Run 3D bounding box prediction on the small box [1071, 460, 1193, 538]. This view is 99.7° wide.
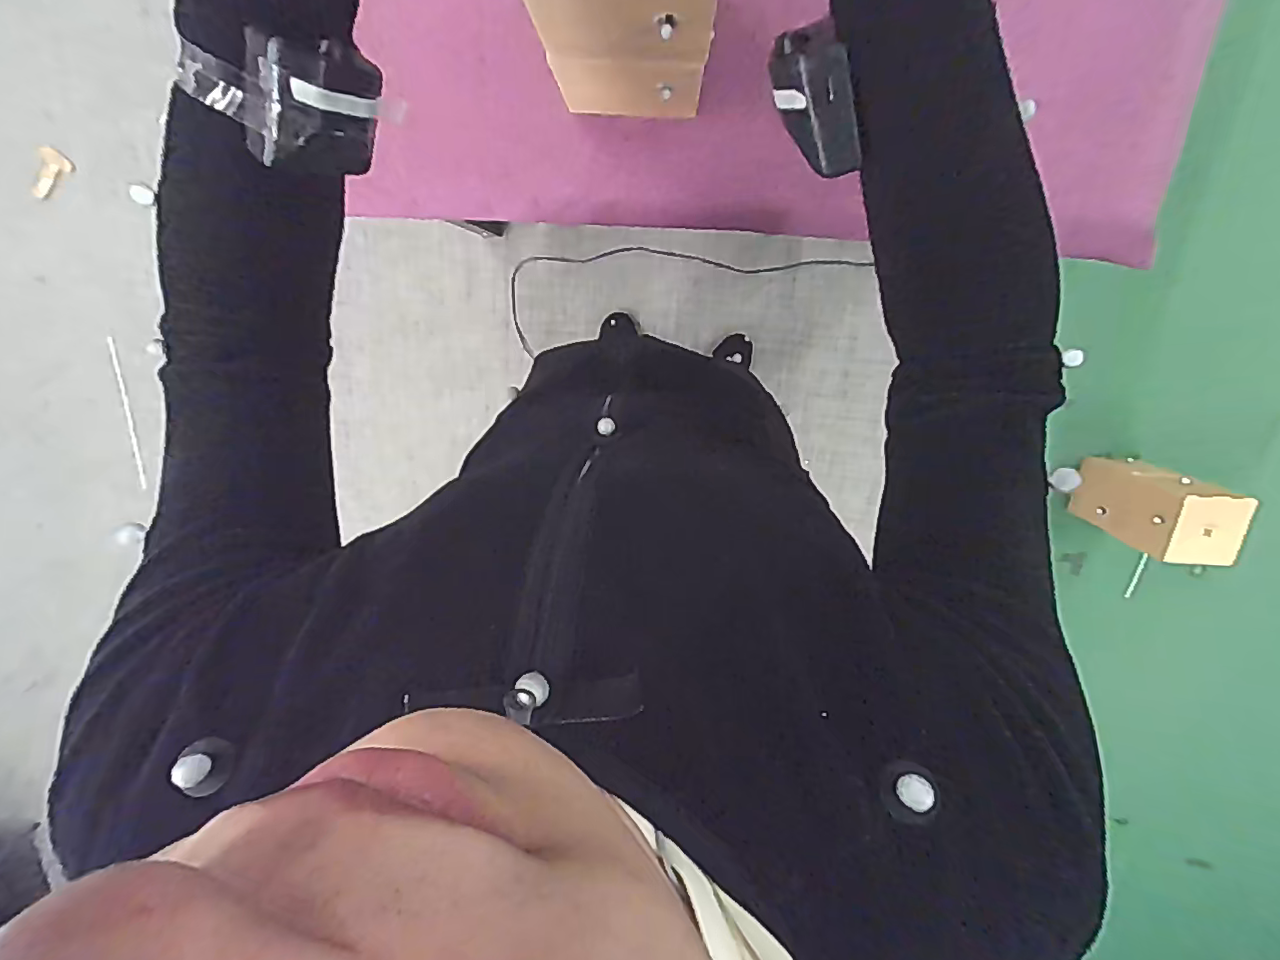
[{"bbox_3d":[1.370,0.056,1.521,0.168,0.176,0.179,5,107,1],"label":"small box"}]

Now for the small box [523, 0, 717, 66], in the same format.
[{"bbox_3d":[-0.013,-0.507,0.489,0.179,0.176,0.168,4,107,2],"label":"small box"}]

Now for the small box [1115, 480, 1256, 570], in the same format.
[{"bbox_3d":[1.364,0.110,1.368,0.168,0.176,0.179,3,106,2],"label":"small box"}]
